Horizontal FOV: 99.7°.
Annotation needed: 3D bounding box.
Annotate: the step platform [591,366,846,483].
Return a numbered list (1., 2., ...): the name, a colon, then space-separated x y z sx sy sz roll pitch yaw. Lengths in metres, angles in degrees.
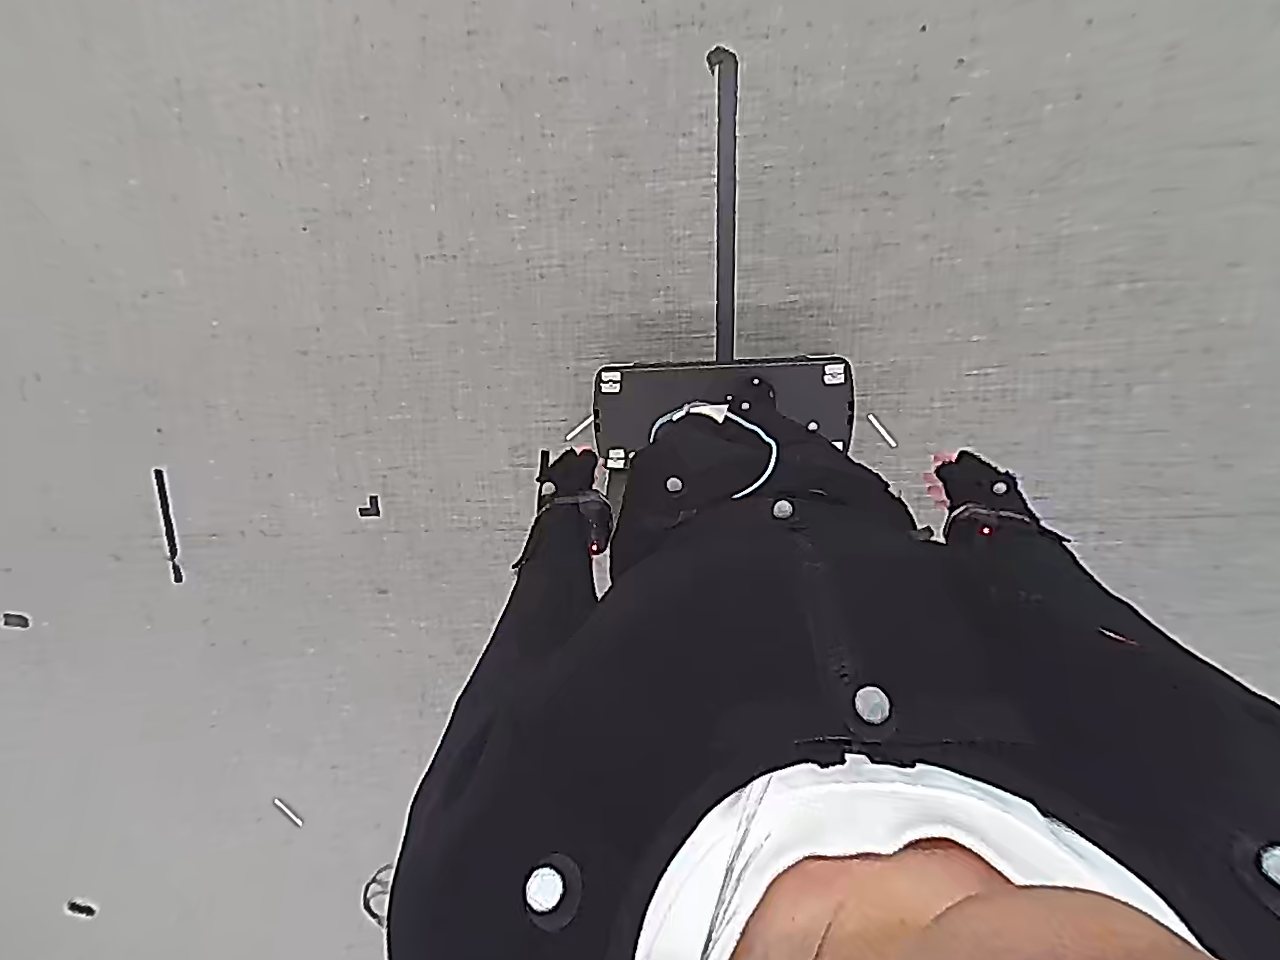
1. step platform: 0.205 -0.151 1.492 0.684 0.204 0.286 -2 102 5
